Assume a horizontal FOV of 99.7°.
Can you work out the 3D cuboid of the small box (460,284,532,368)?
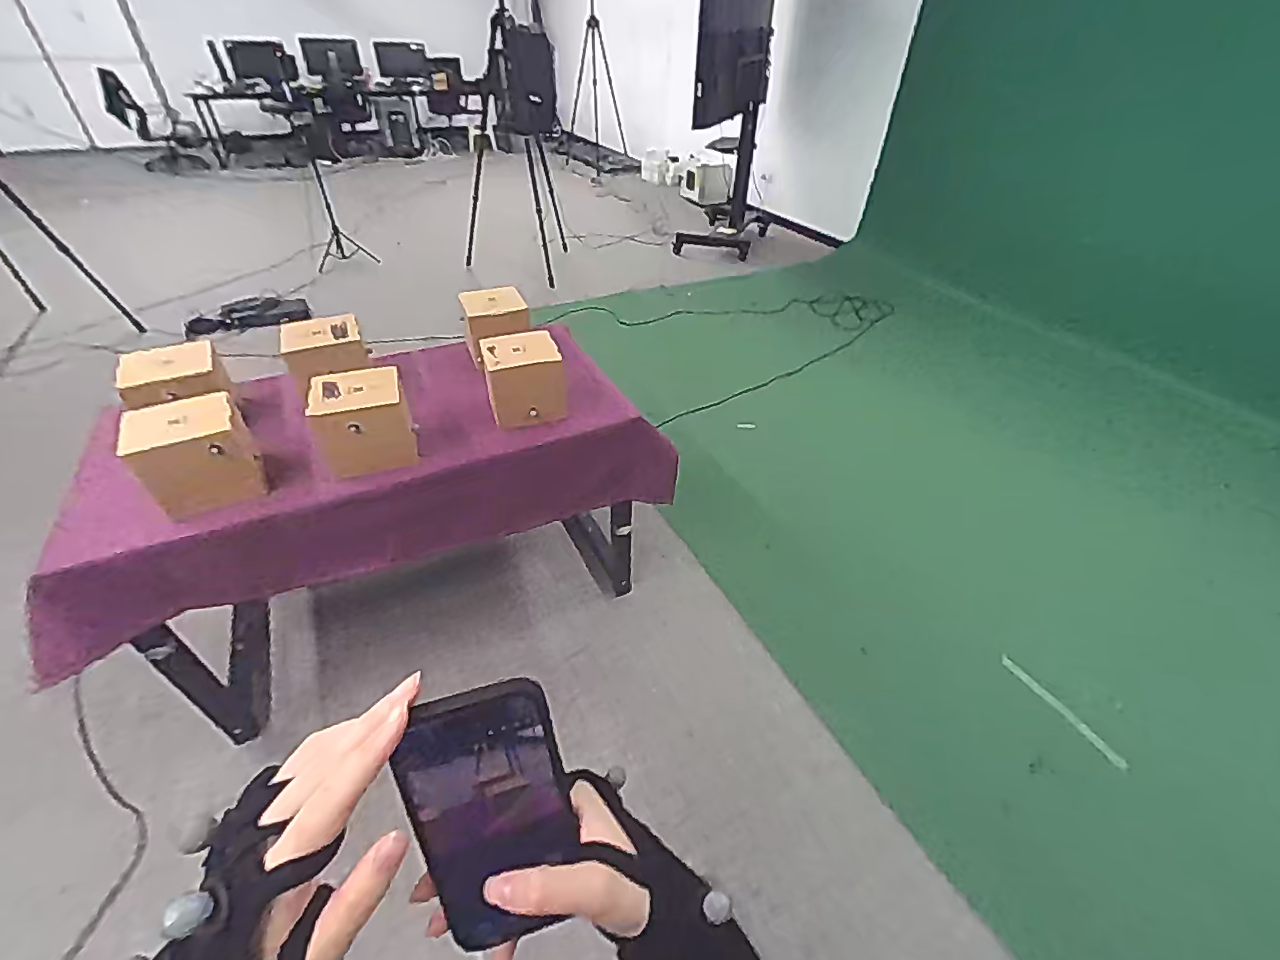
[{"bbox_3d":[-0.413,-0.445,1.562,0.168,0.176,0.179,-15,44,-18],"label":"small box"}]

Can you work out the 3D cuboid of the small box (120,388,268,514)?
[{"bbox_3d":[-0.886,-0.058,1.089,0.179,0.176,0.168,-20,45,-26],"label":"small box"}]

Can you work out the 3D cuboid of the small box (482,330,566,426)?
[{"bbox_3d":[-0.286,-0.255,1.347,0.179,0.176,0.168,-12,42,-16],"label":"small box"}]

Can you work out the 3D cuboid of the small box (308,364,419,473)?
[{"bbox_3d":[-0.601,-0.134,1.191,0.179,0.176,0.168,-12,43,-17],"label":"small box"}]
